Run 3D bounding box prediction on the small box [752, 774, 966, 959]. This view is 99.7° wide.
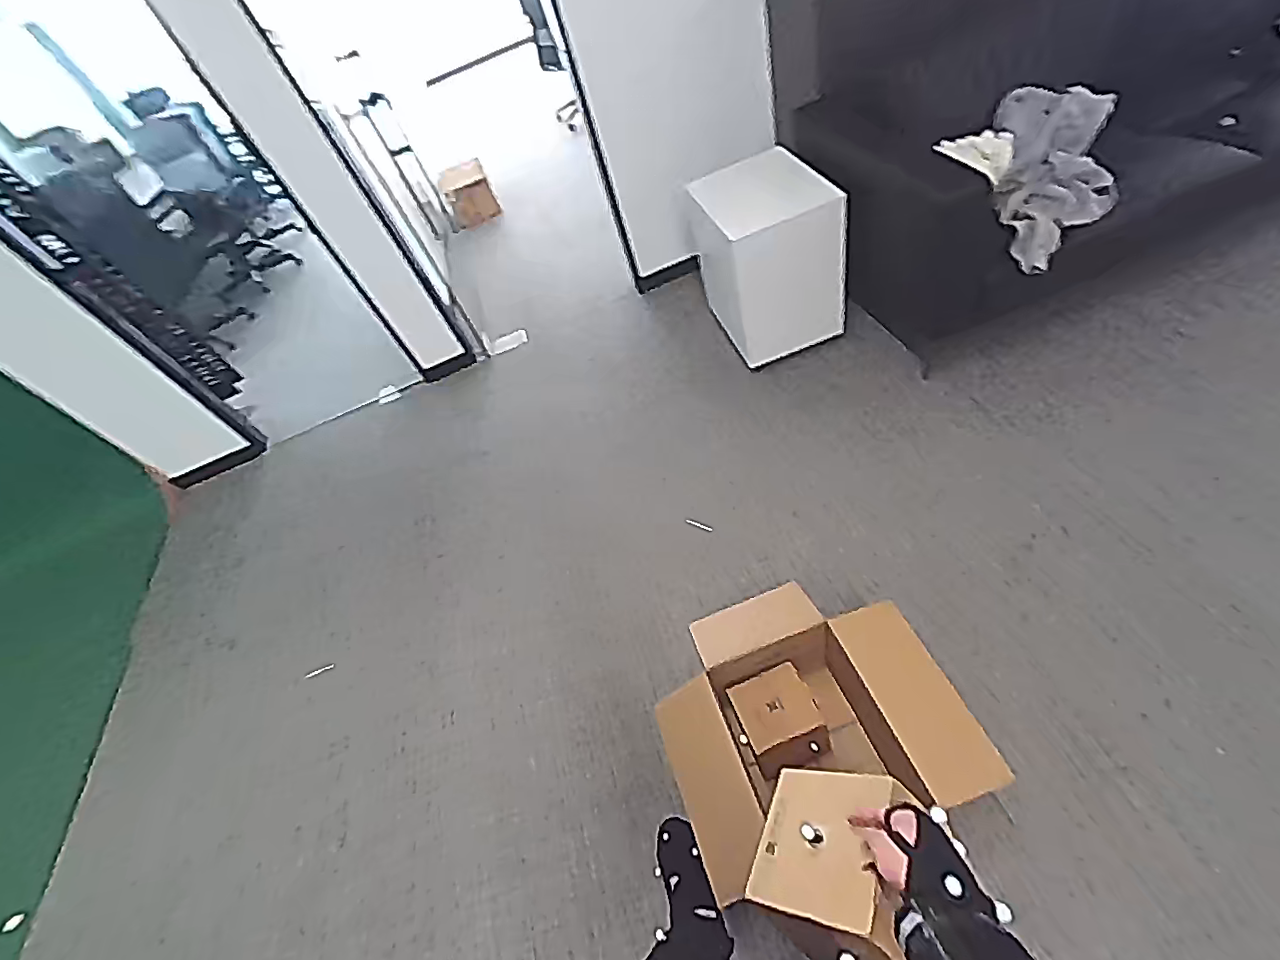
[{"bbox_3d":[0.265,0.484,0.655,0.176,0.179,0.168,-28,19,45],"label":"small box"}]
